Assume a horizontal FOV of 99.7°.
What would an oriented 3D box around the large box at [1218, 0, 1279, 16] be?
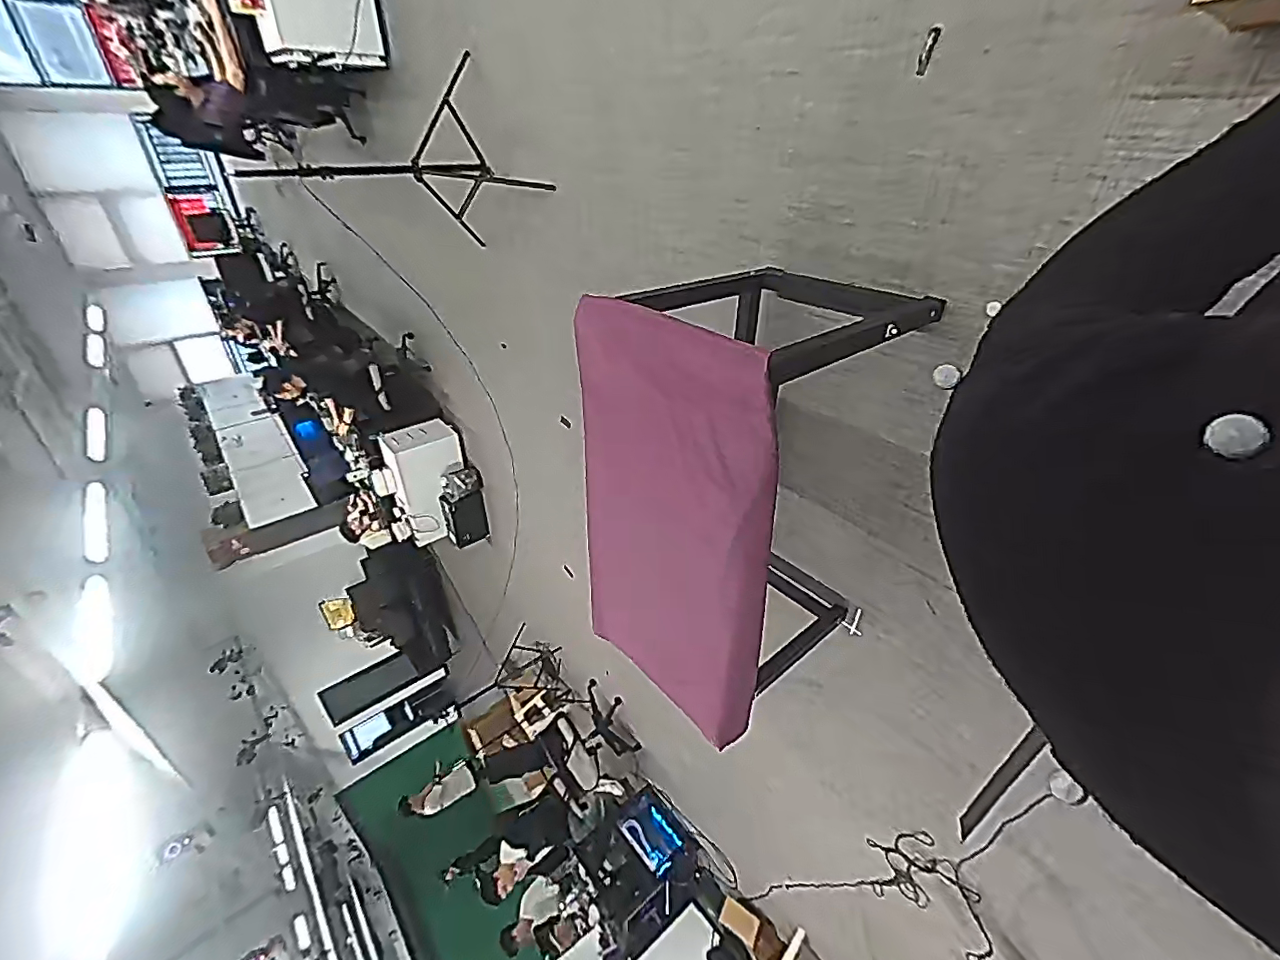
[{"bbox_3d":[0.961,-0.817,0.603,0.320,0.320,0.408,31,135,42],"label":"large box"}]
